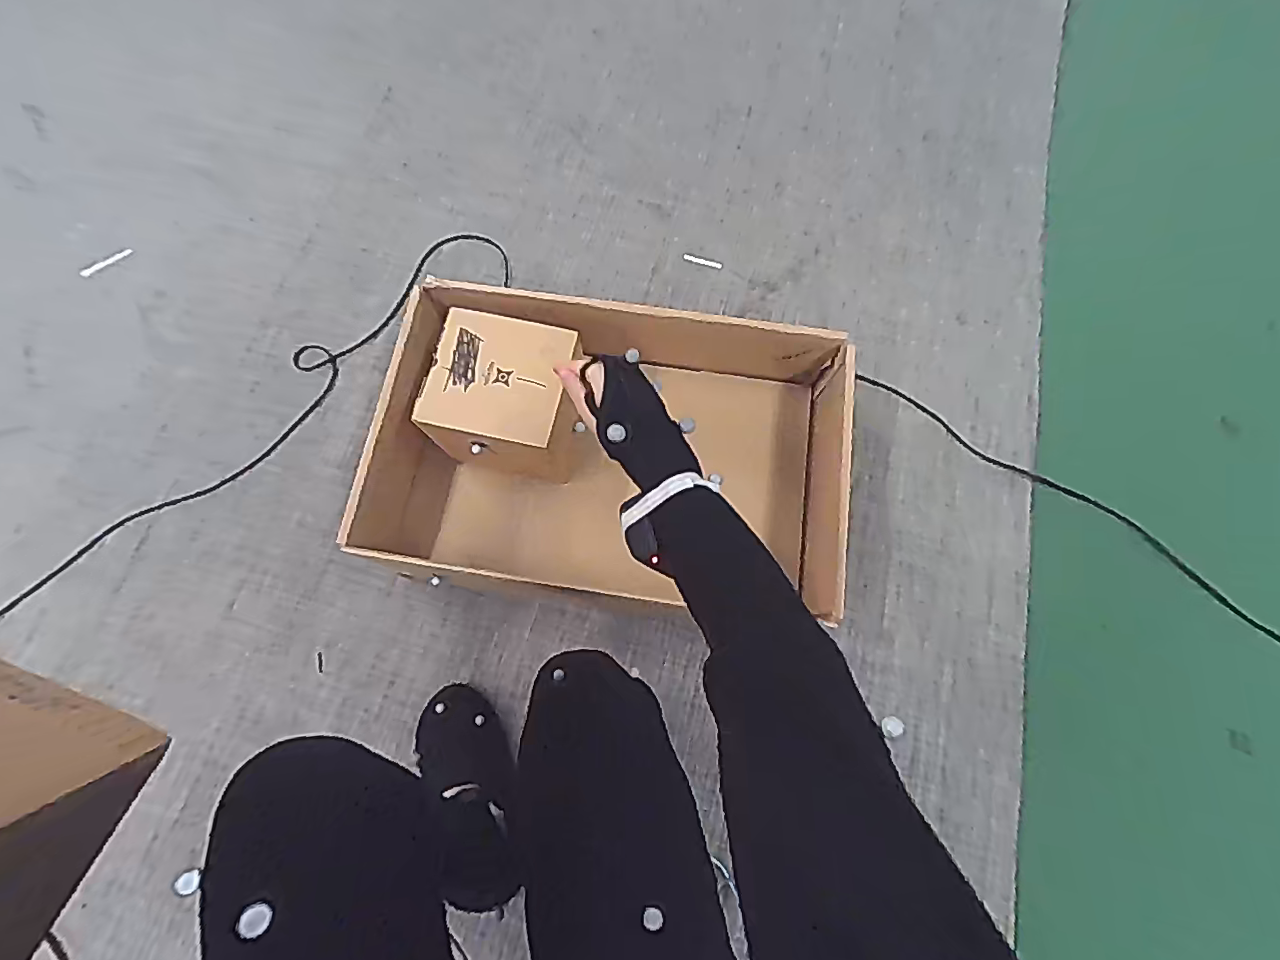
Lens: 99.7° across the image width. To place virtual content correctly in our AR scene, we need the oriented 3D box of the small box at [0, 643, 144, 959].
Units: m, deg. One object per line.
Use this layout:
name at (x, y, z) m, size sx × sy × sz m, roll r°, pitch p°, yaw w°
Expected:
small box at (-0.322, 0.144, 0.161) m, size 0.168 × 0.176 × 0.179 m, roll 30°, pitch 77°, yaw -7°
